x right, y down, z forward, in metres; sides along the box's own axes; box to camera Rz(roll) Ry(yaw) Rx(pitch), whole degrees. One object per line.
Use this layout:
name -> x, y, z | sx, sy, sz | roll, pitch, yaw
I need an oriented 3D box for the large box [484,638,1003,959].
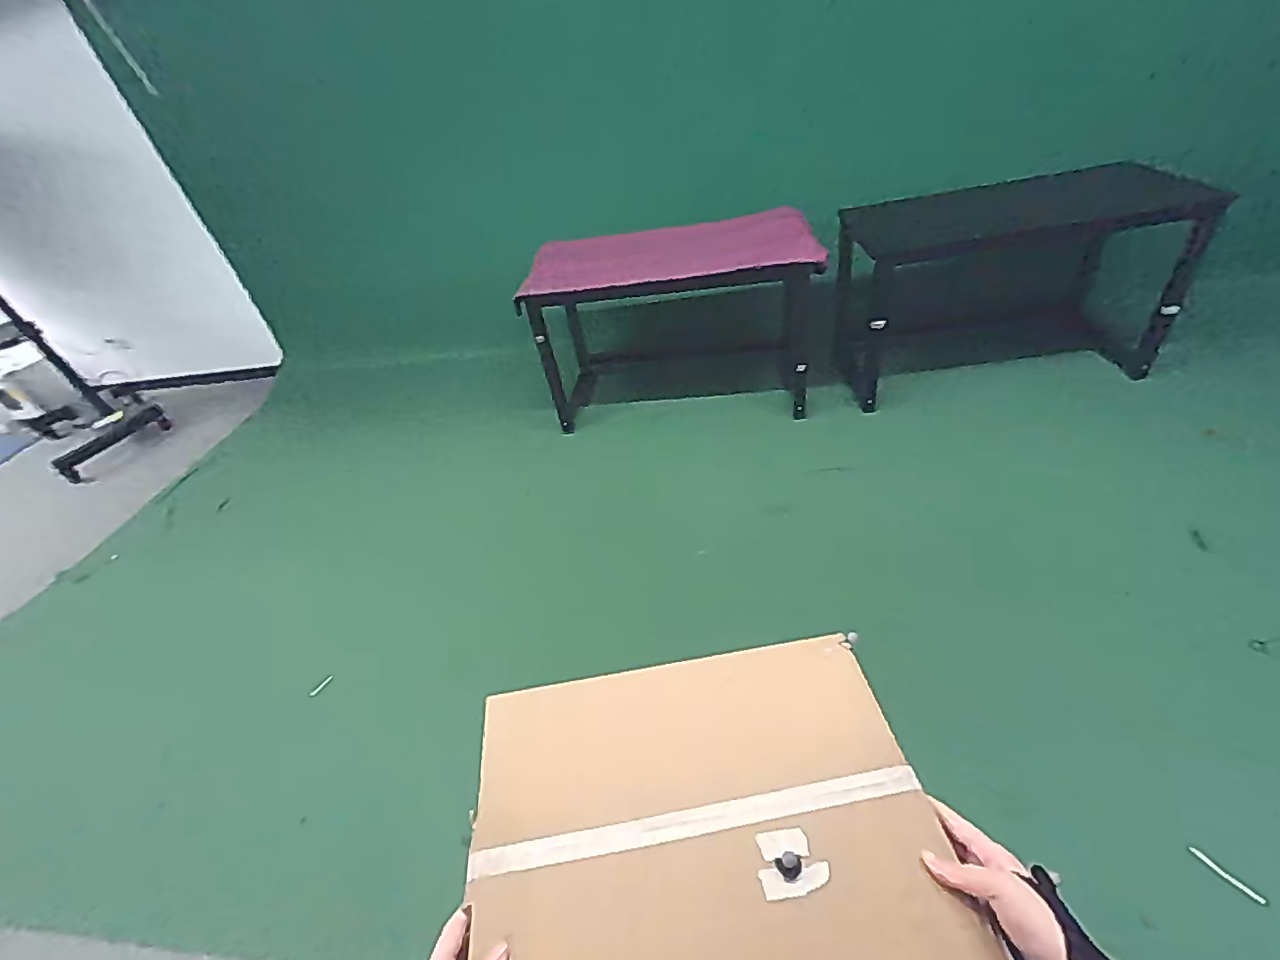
large box -> 0.068, 0.422, 0.592 | 0.408, 0.320, 0.320 | -8, 41, -4
